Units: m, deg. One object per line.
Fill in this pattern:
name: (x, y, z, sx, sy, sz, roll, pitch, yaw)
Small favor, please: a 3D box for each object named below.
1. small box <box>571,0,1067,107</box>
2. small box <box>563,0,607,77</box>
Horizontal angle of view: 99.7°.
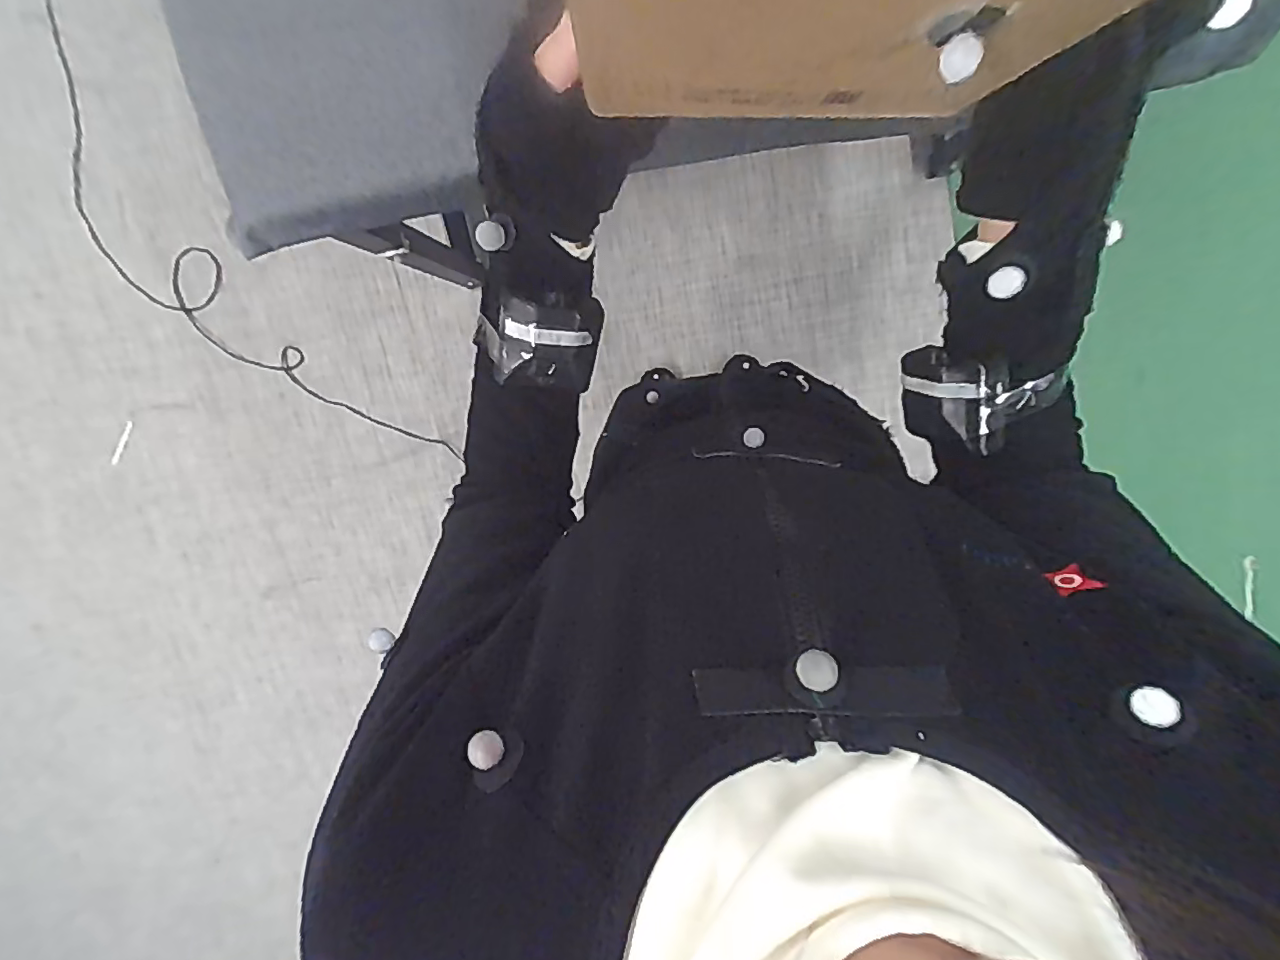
small box: (0.058, -0.228, 0.148, 0.168, 0.176, 0.179, -1, 106, -2)
small box: (0.005, -0.522, 0.510, 0.179, 0.176, 0.168, -8, 100, 4)
